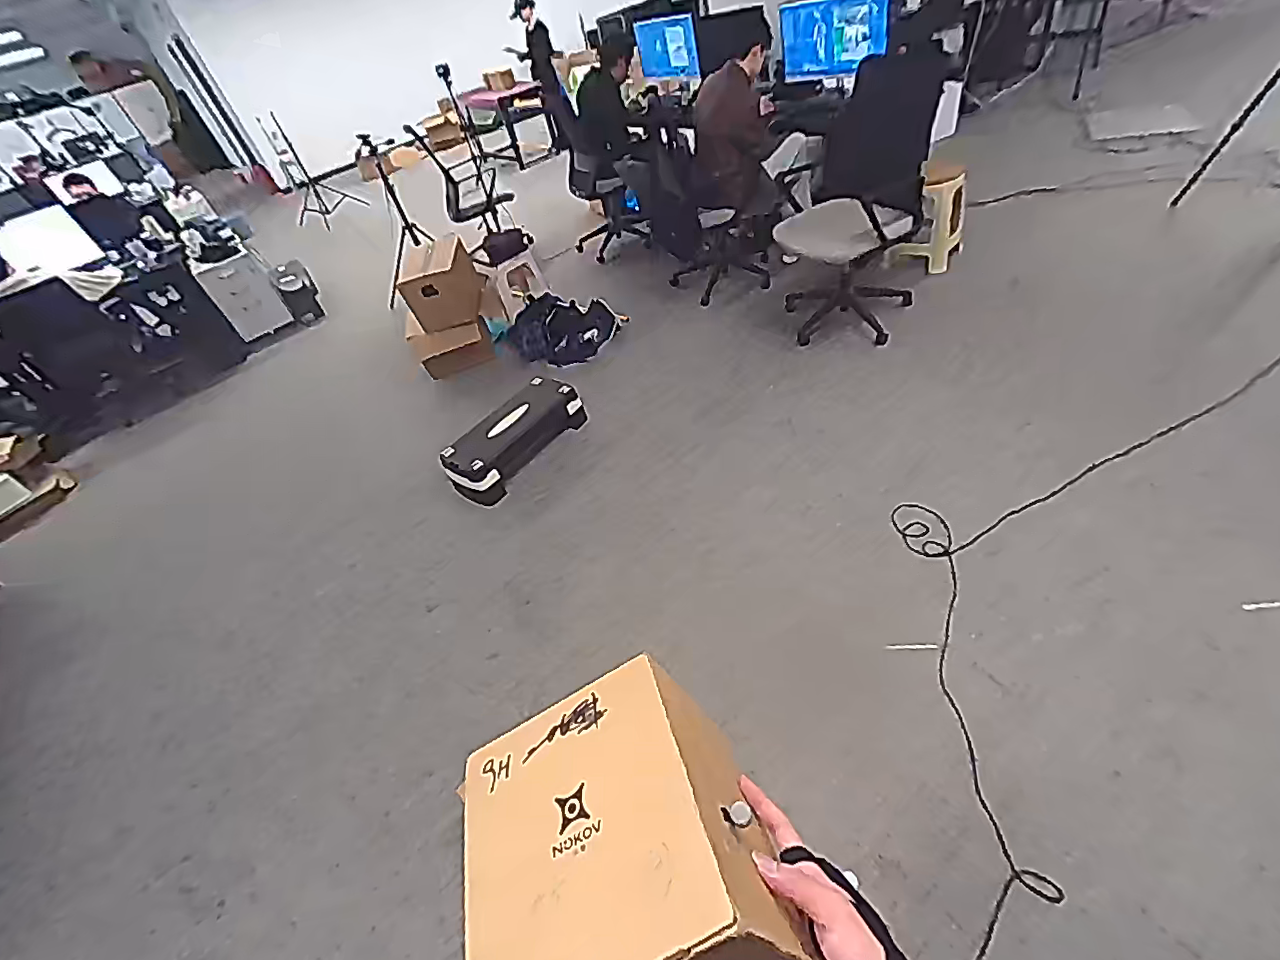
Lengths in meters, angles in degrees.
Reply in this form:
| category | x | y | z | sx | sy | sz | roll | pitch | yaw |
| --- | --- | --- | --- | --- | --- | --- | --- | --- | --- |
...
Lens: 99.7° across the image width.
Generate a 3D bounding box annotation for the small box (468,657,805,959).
| category | x | y | z | sx | sy | sz | roll | pitch | yaw |
| --- | --- | --- | --- | --- | --- | --- | --- | --- | --- |
| small box | -0.004 | 0.272 | 0.397 | 0.168 | 0.176 | 0.179 | -31 | 38 | 4 |
